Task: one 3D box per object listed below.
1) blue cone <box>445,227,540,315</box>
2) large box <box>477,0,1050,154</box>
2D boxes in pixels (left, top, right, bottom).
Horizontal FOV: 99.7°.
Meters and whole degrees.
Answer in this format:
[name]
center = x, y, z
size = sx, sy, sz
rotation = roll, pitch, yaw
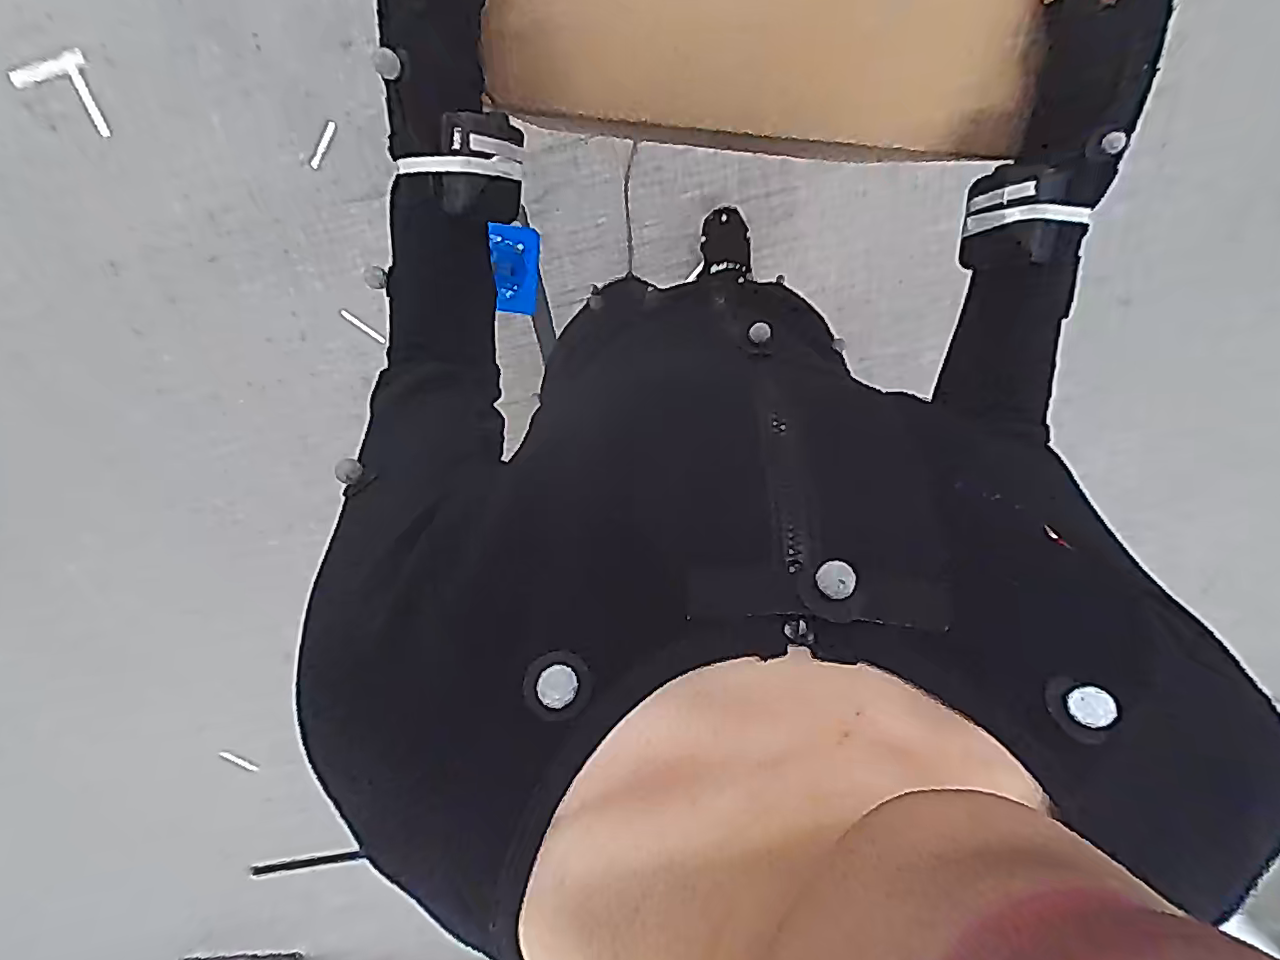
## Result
[blue cone]
center = -0.344, -0.456, 1.178
size = 0.193, 0.380, 0.192
rotation = 9, 110, -2
[large box]
center = 0.086, -0.474, 0.461
size = 0.408, 0.320, 0.320
rotation = 3, 120, -3
